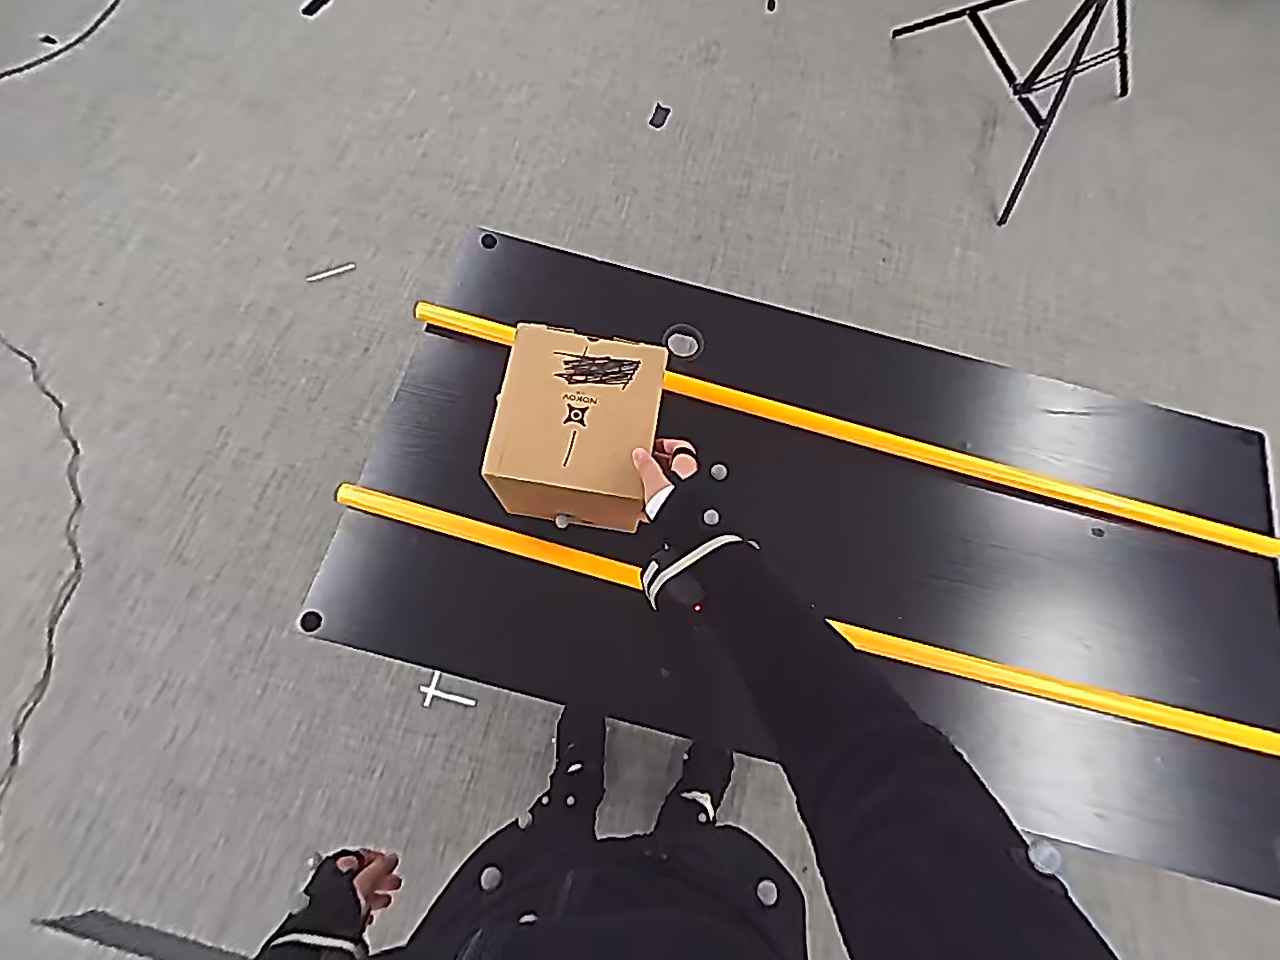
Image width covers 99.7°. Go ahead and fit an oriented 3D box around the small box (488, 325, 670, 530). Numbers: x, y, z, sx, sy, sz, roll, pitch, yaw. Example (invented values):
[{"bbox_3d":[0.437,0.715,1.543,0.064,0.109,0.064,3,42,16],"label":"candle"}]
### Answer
[{"bbox_3d":[-0.066,-0.052,0.642,0.168,0.176,0.179,10,73,-1],"label":"small box"}]
